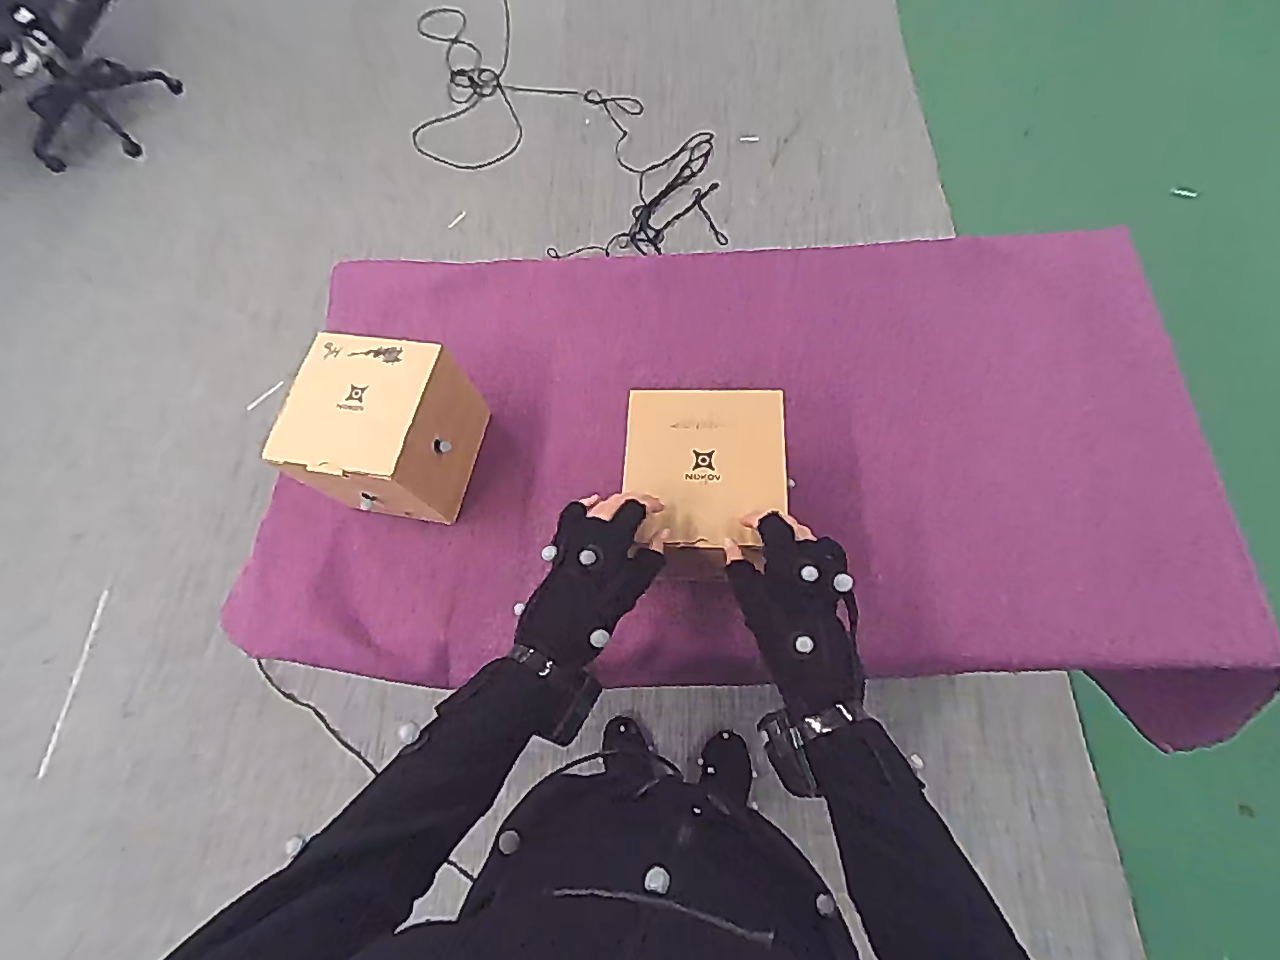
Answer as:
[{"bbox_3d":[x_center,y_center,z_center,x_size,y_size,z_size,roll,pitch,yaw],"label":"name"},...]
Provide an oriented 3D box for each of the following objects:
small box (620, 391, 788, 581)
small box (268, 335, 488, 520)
[{"bbox_3d":[0.075,0.015,0.624,0.168,0.176,0.179,2,68,6],"label":"small box"},{"bbox_3d":[-0.316,-0.059,0.696,0.168,0.176,0.179,8,70,9],"label":"small box"}]
